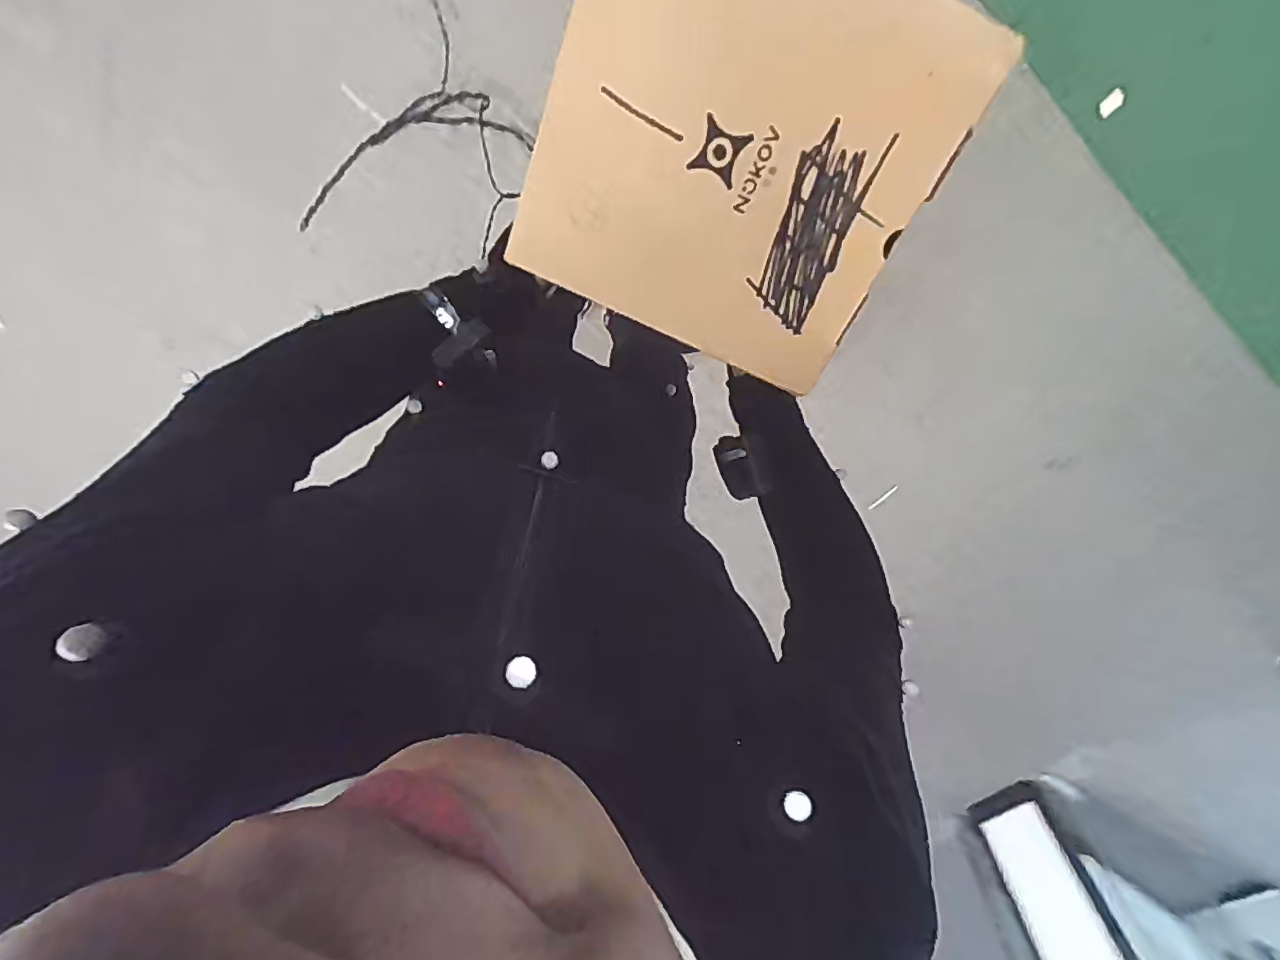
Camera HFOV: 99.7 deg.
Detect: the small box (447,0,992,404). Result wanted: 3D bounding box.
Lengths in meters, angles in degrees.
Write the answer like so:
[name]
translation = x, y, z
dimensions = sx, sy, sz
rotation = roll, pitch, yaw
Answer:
[small box]
translation = 0.028, -0.174, 0.294
dimensions = 0.179, 0.176, 0.168
rotation = 24, 119, -9
